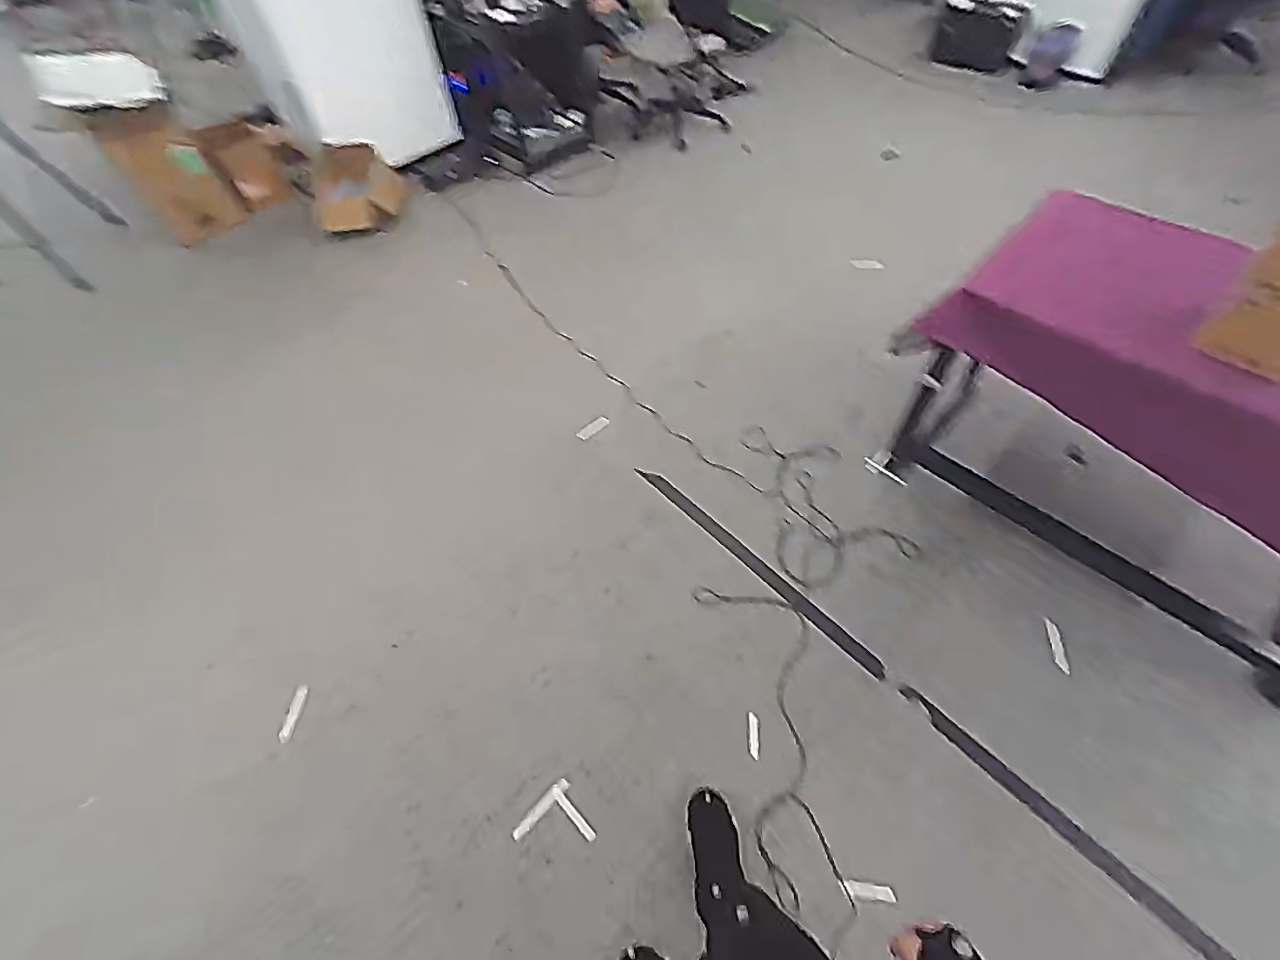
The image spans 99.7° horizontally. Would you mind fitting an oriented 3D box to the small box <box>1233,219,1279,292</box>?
[{"bbox_3d":[1.259,-0.437,0.978,0.168,0.176,0.179,-37,60,-20],"label":"small box"}]
